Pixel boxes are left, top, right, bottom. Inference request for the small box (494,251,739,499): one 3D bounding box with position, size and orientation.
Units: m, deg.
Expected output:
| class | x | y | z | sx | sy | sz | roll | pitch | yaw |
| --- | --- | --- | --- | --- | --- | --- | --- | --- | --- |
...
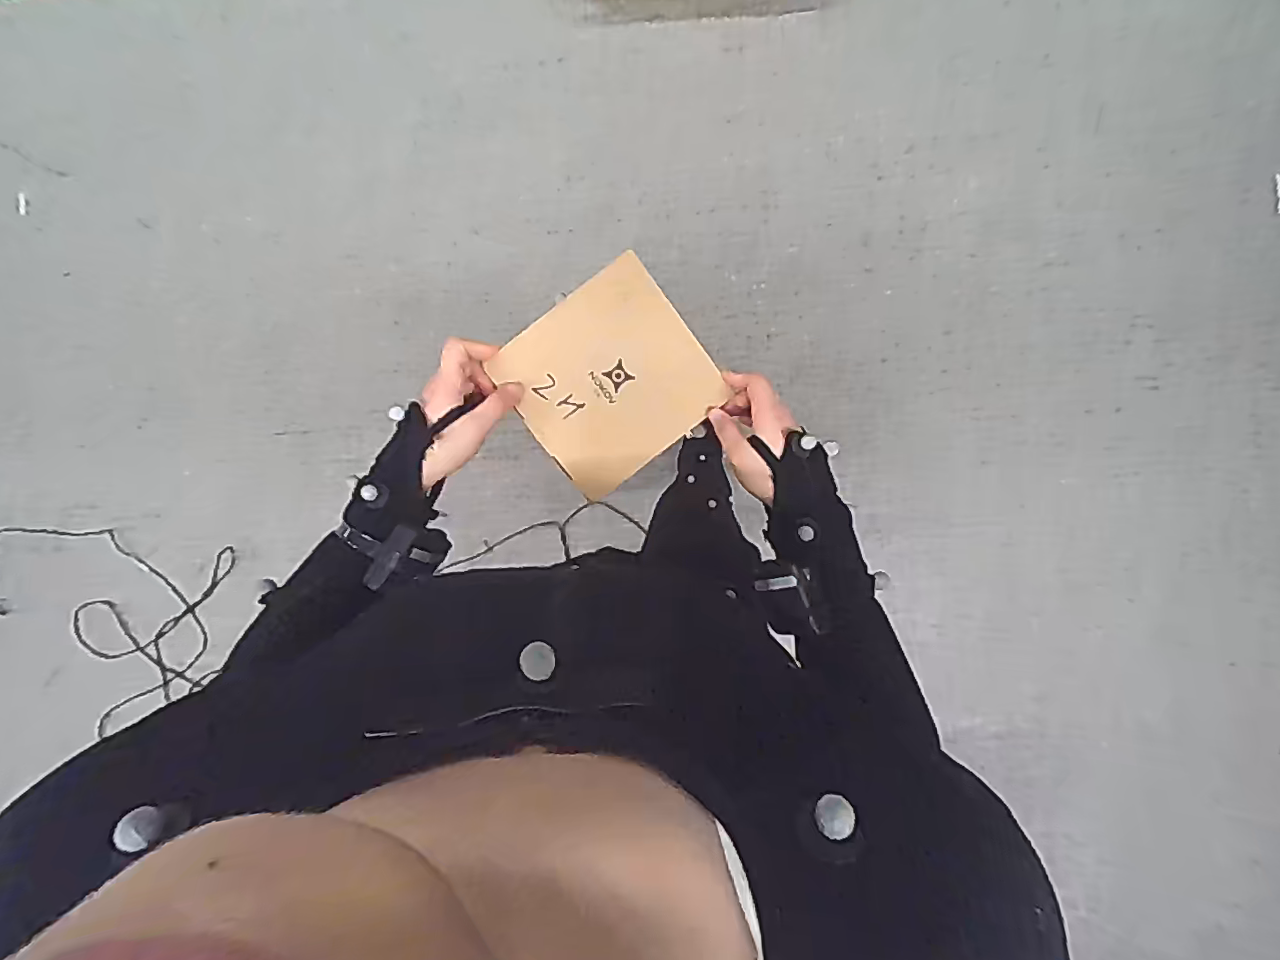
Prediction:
| class | x | y | z | sx | sy | sz | roll | pitch | yaw |
| --- | --- | --- | --- | --- | --- | --- | --- | --- | --- |
| small box | -0.026 | -0.107 | 0.583 | 0.179 | 0.176 | 0.168 | -38 | 98 | 2 |
